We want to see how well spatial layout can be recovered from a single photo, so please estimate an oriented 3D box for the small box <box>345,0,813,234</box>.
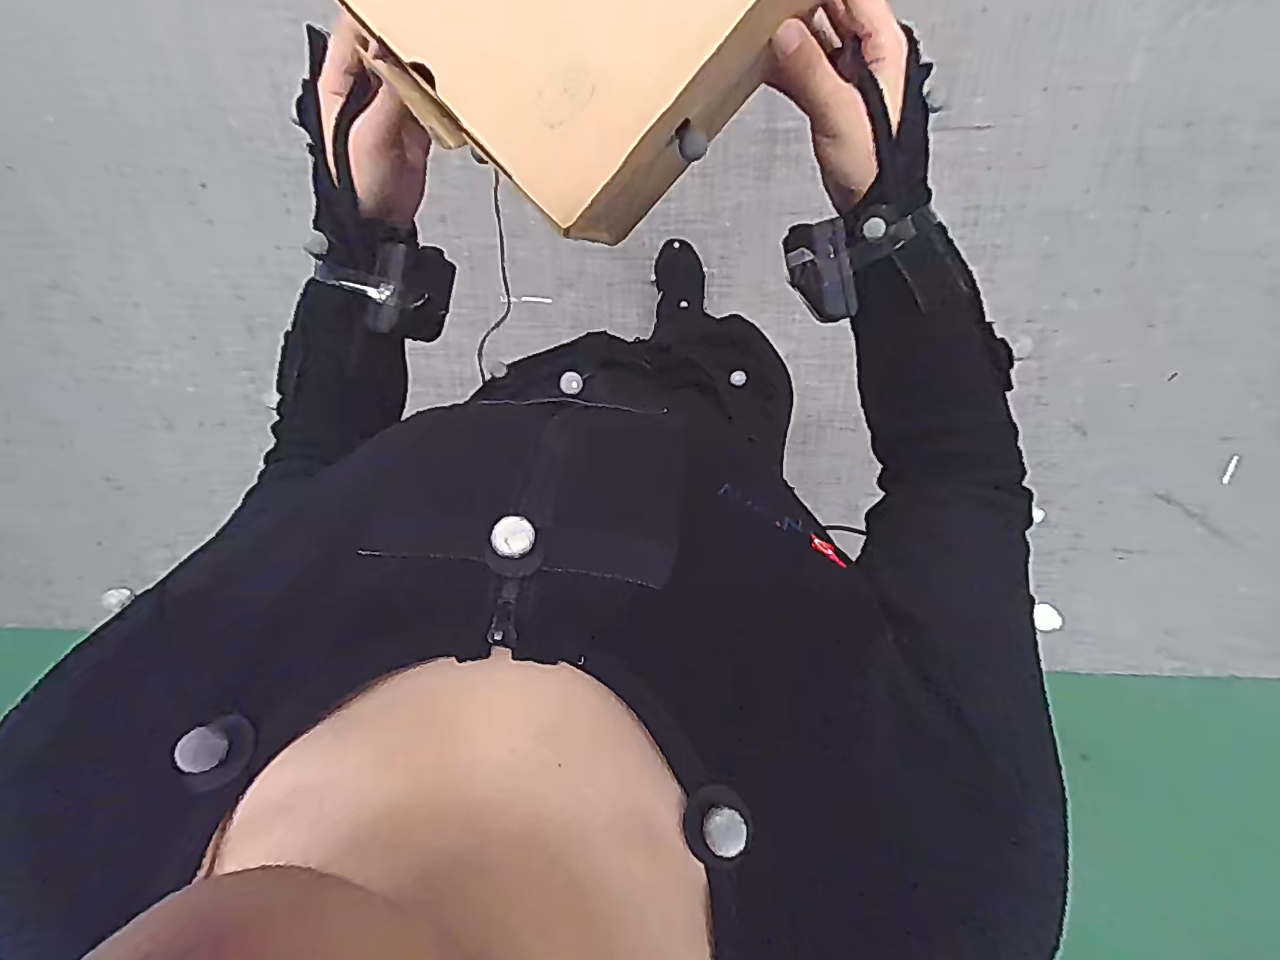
[{"bbox_3d":[-0.019,-0.252,0.280,0.168,0.176,0.179,44,110,-11],"label":"small box"}]
